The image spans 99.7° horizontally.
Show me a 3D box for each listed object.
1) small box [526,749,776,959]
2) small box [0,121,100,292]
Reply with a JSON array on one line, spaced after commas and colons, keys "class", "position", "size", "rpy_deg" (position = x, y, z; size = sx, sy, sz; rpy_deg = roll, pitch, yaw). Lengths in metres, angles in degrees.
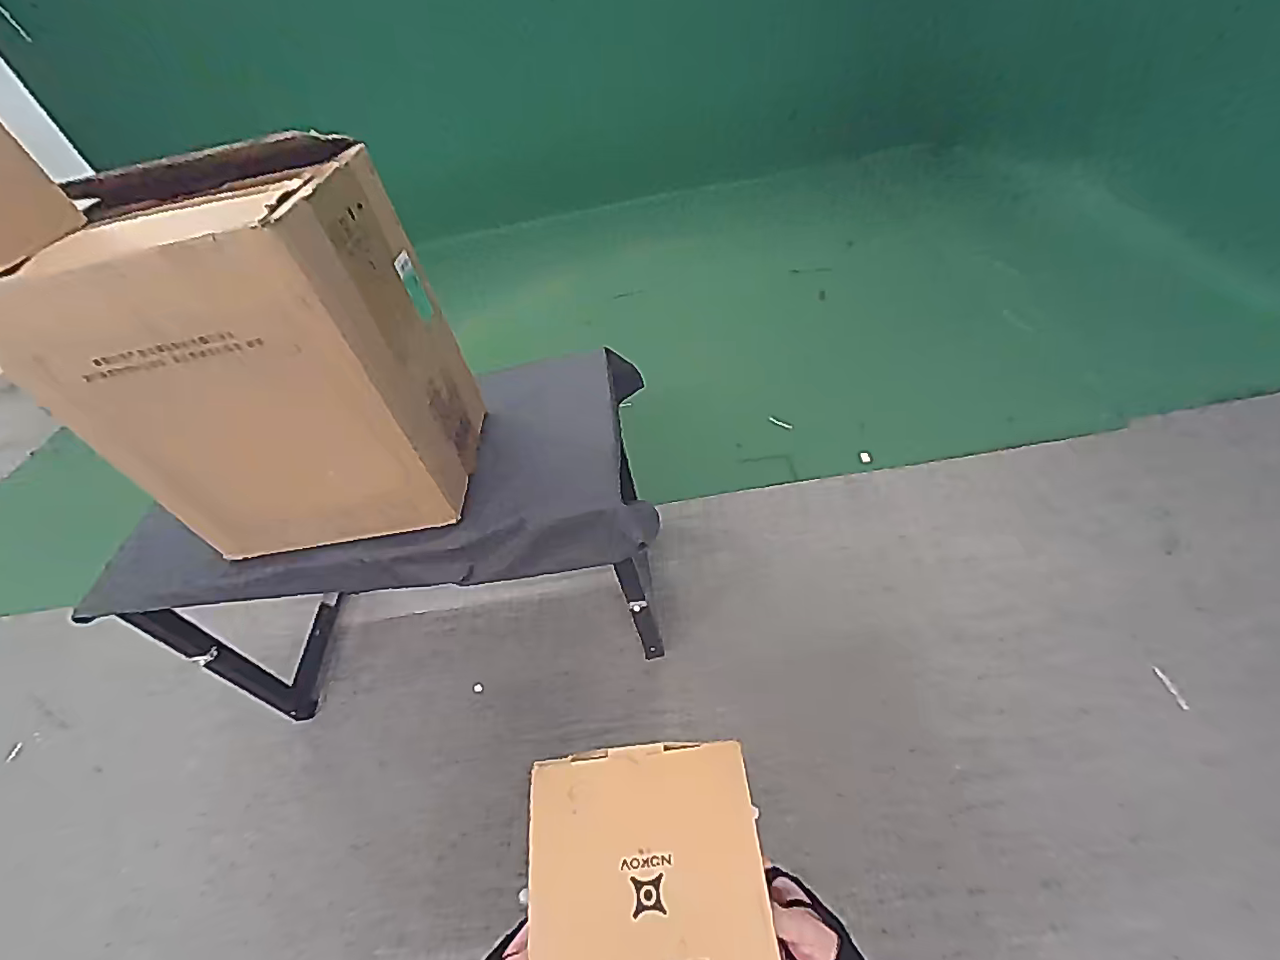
[{"class": "small box", "position": [0.007, 0.333, 0.432], "size": [0.168, 0.176, 0.179], "rpy_deg": [-5, 53, 0]}, {"class": "small box", "position": [-0.943, -0.370, 0.759], "size": [0.168, 0.176, 0.179], "rpy_deg": [-9, 44, 7]}]
